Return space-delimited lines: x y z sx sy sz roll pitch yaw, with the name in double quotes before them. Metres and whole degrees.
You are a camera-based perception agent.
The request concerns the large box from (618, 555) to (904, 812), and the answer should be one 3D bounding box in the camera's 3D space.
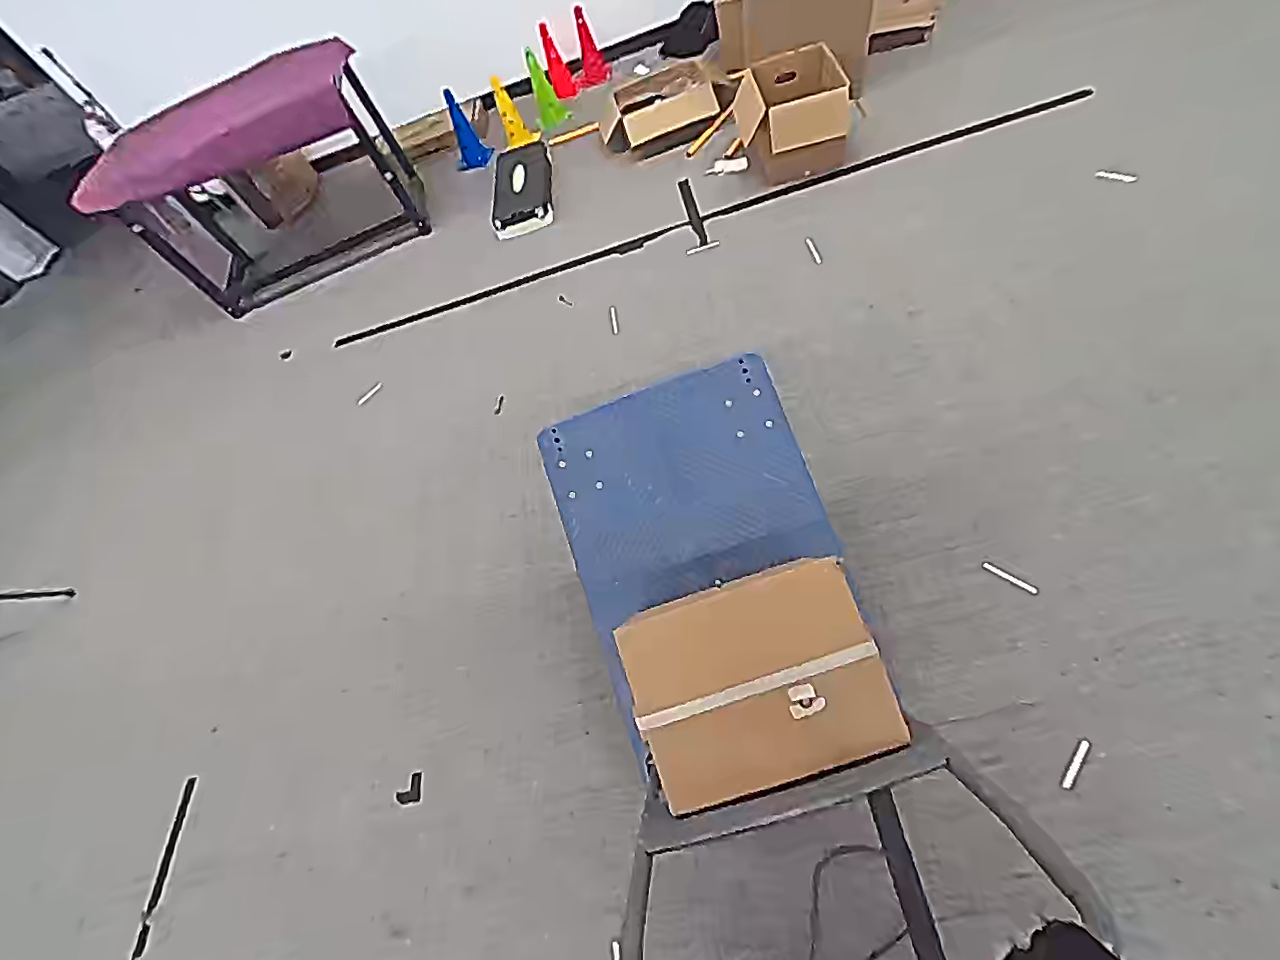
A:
"large box" 0.209 0.363 1.056 0.408 0.320 0.320 -21 80 3
